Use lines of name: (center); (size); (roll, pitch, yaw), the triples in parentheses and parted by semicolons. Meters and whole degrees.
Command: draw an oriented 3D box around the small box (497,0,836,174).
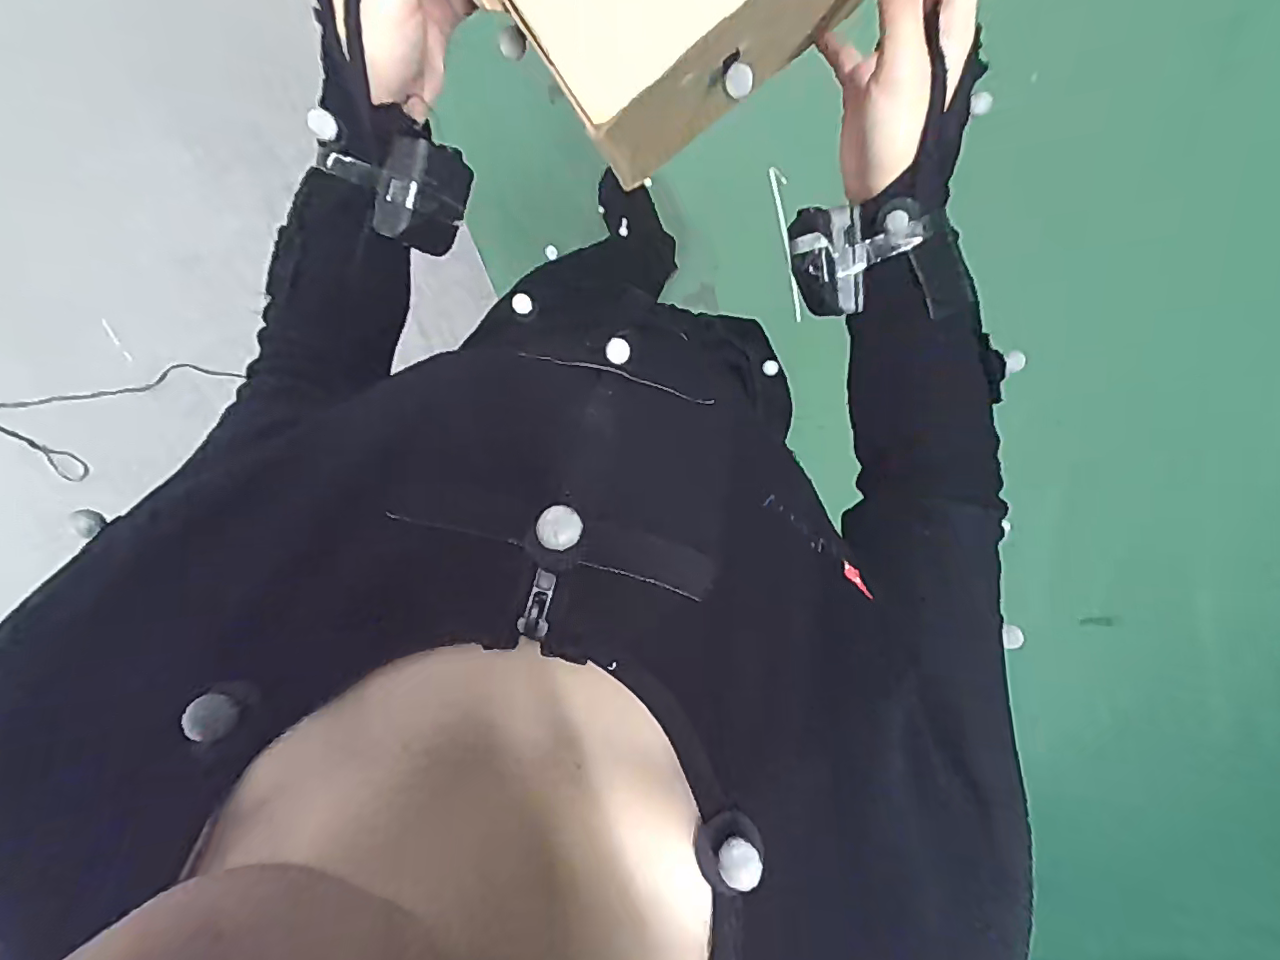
small box: (0.007, -0.284, 0.263); (0.179, 0.176, 0.168); (-33, 105, 15)
